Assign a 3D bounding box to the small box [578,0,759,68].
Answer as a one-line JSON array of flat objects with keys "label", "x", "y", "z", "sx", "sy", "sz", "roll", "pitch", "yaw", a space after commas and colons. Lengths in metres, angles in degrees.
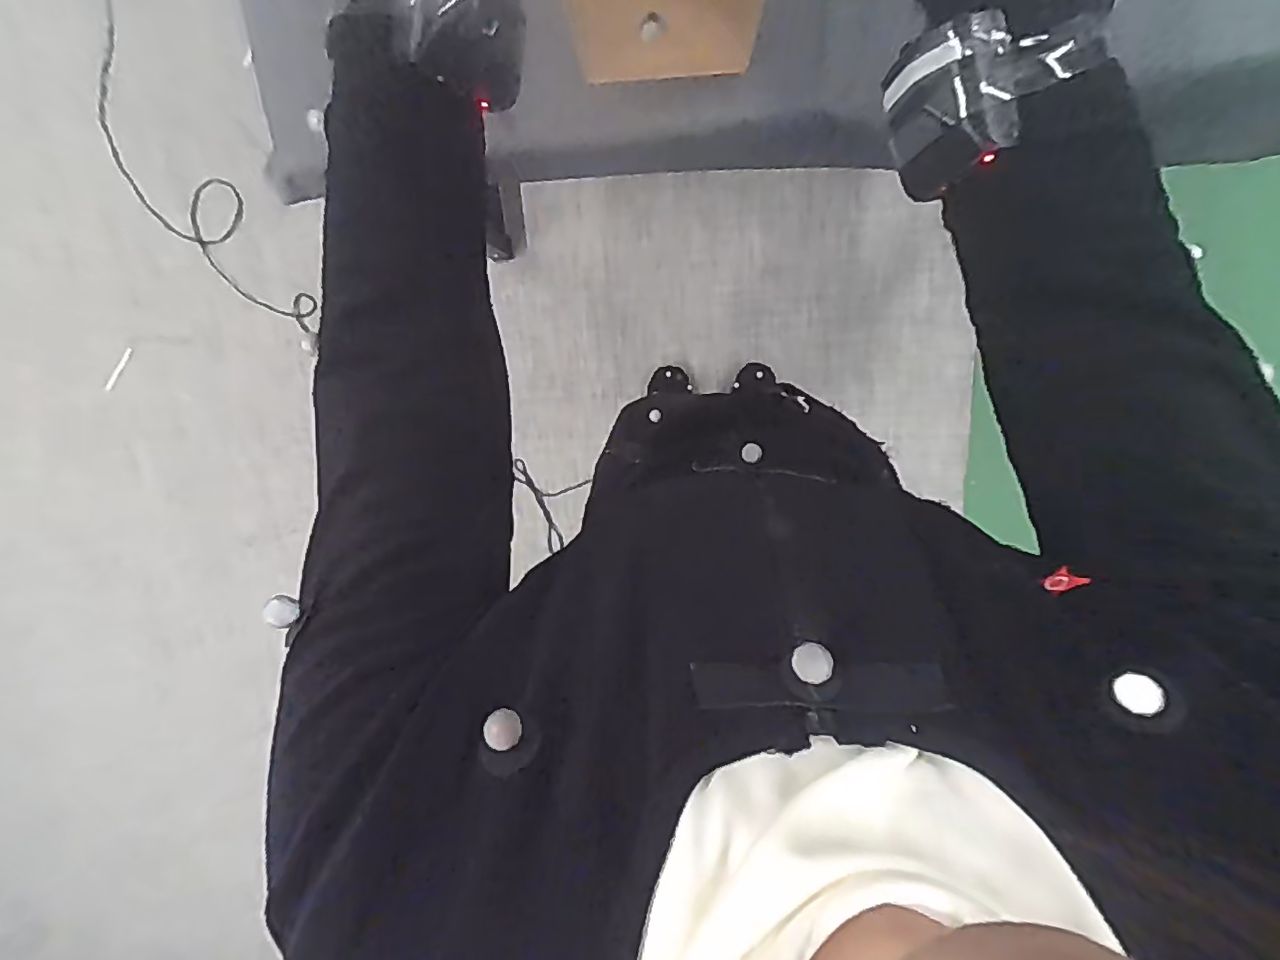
[{"label": "small box", "x": 0.025, "y": -0.519, "z": 0.501, "sx": 0.179, "sy": 0.176, "sz": 0.168, "roll": -1, "pitch": 101, "yaw": 4}]
